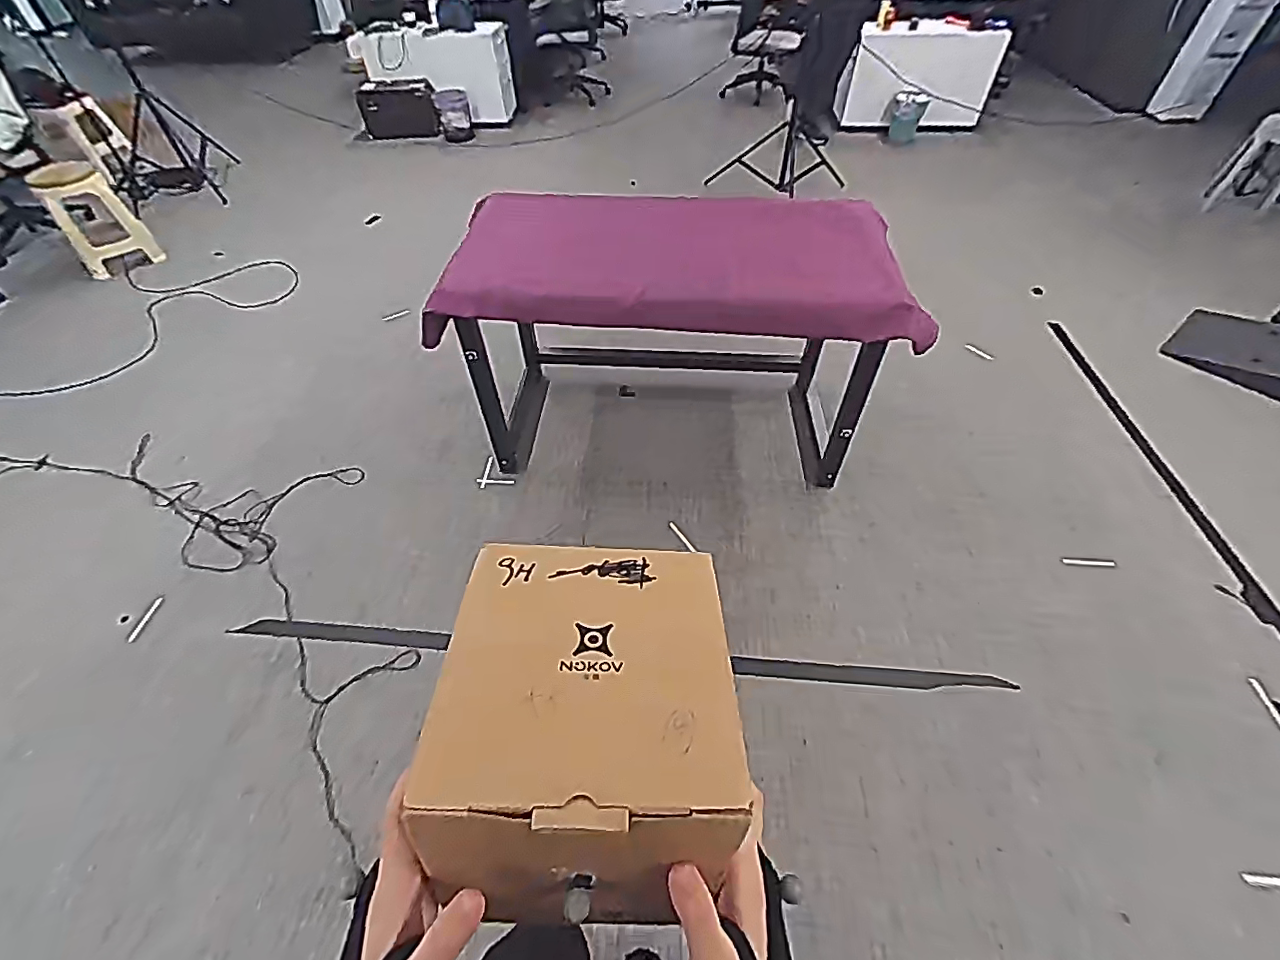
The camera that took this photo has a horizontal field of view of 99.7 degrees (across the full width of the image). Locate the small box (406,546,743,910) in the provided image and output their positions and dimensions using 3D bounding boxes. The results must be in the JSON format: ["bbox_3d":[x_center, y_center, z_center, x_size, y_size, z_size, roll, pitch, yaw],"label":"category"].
[{"bbox_3d":[-0.035,0.168,0.370,0.168,0.176,0.179,3,38,-3],"label":"small box"}]
